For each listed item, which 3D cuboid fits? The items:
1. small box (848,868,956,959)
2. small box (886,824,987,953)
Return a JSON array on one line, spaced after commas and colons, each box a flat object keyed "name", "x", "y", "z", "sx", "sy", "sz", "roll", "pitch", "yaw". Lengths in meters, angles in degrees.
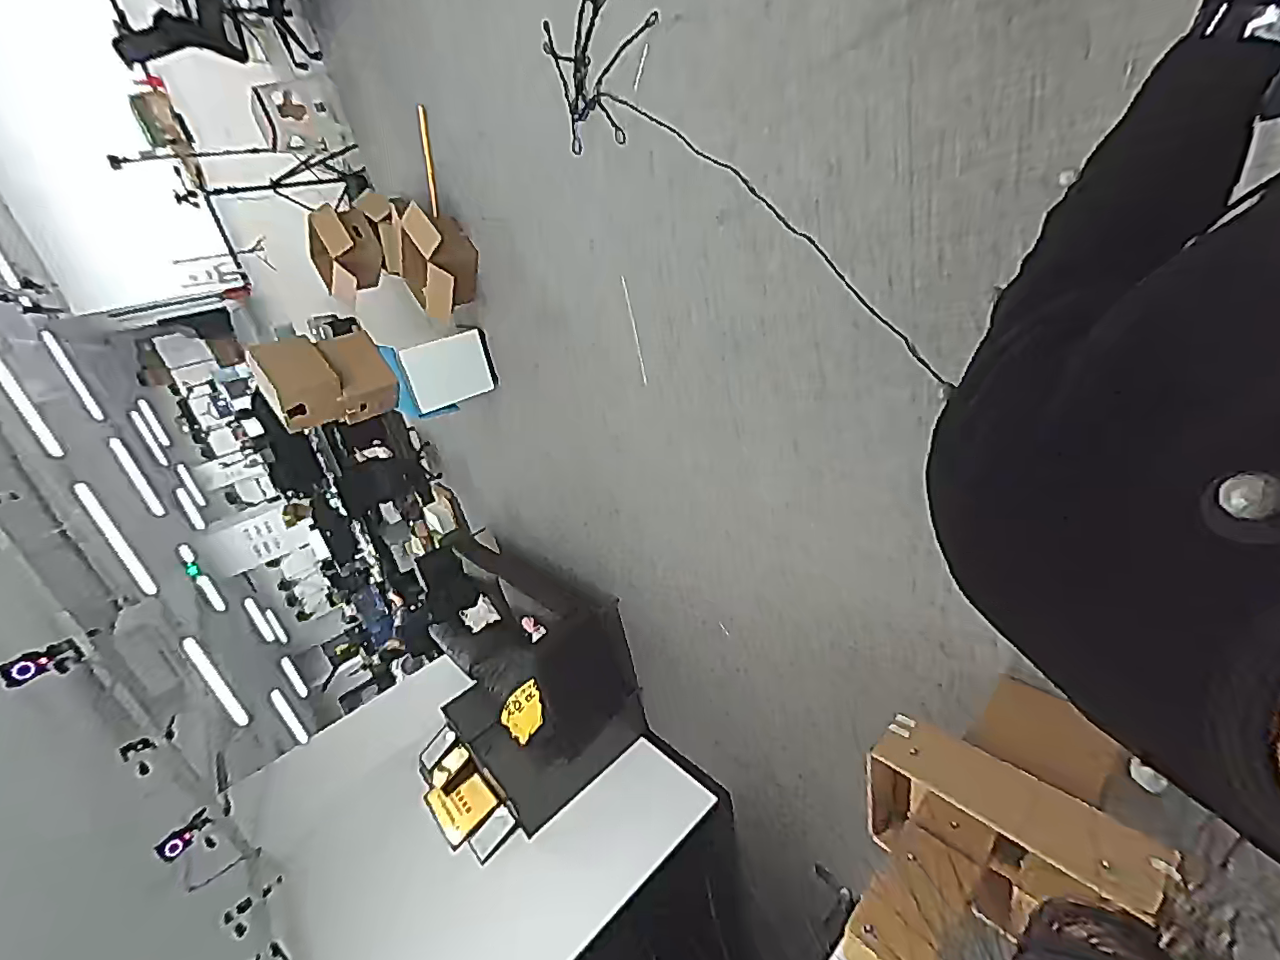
[{"name": "small box", "x": 0.622, "y": 1.087, "z": 1.287, "sx": 0.179, "sy": 0.176, "sz": 0.168, "roll": 23, "pitch": 133, "yaw": 44}, {"name": "small box", "x": 0.743, "y": 1.019, "z": 1.370, "sx": 0.179, "sy": 0.176, "sz": 0.168, "roll": 21, "pitch": 131, "yaw": 44}]
